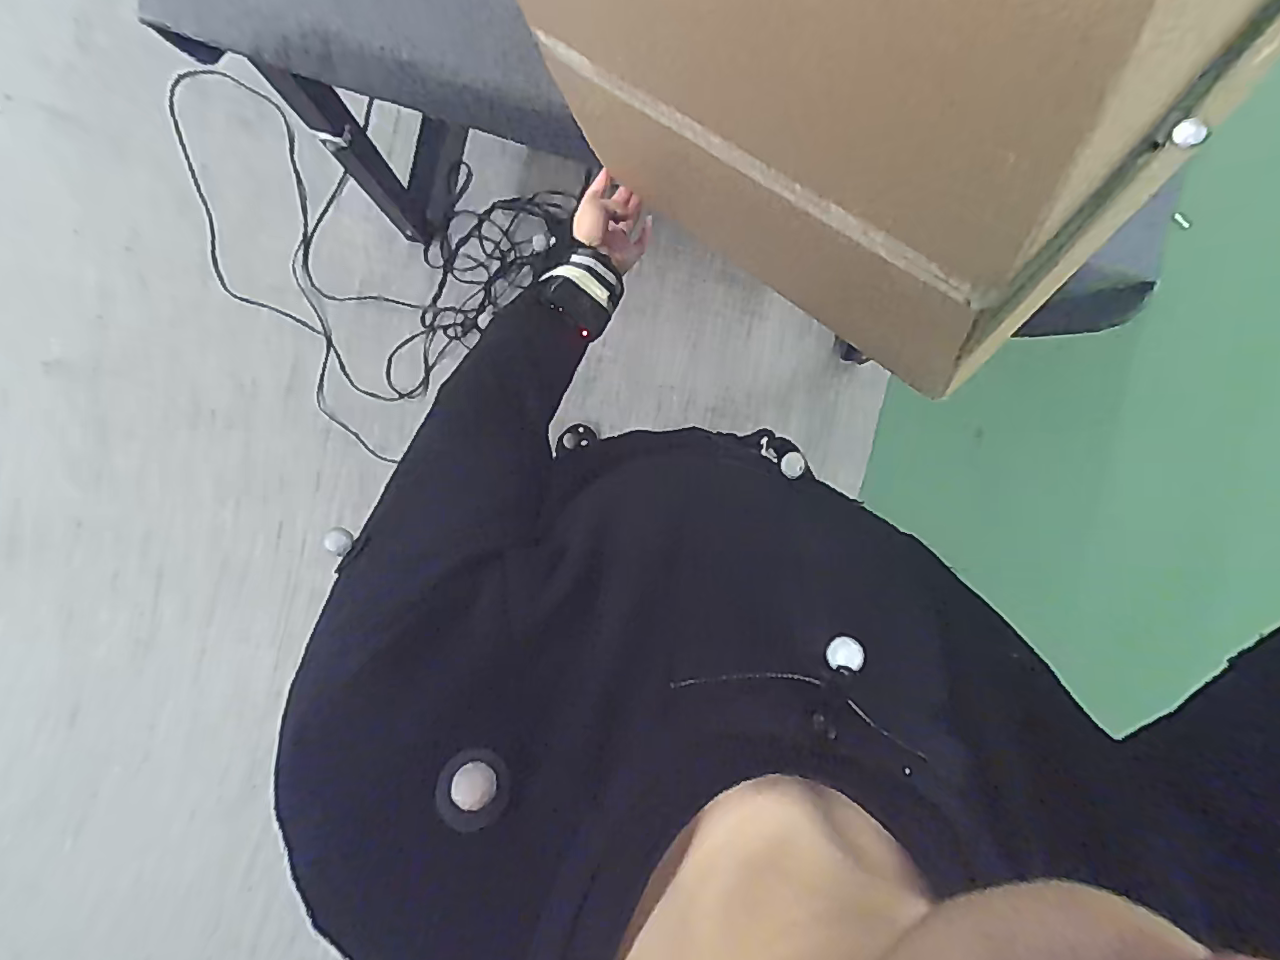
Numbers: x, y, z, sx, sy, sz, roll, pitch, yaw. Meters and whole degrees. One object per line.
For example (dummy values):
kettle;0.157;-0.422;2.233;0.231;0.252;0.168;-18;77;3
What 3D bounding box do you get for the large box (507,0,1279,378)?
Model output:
large box;0.146;-0.334;0.336;0.408;0.320;0.320;43;94;22
